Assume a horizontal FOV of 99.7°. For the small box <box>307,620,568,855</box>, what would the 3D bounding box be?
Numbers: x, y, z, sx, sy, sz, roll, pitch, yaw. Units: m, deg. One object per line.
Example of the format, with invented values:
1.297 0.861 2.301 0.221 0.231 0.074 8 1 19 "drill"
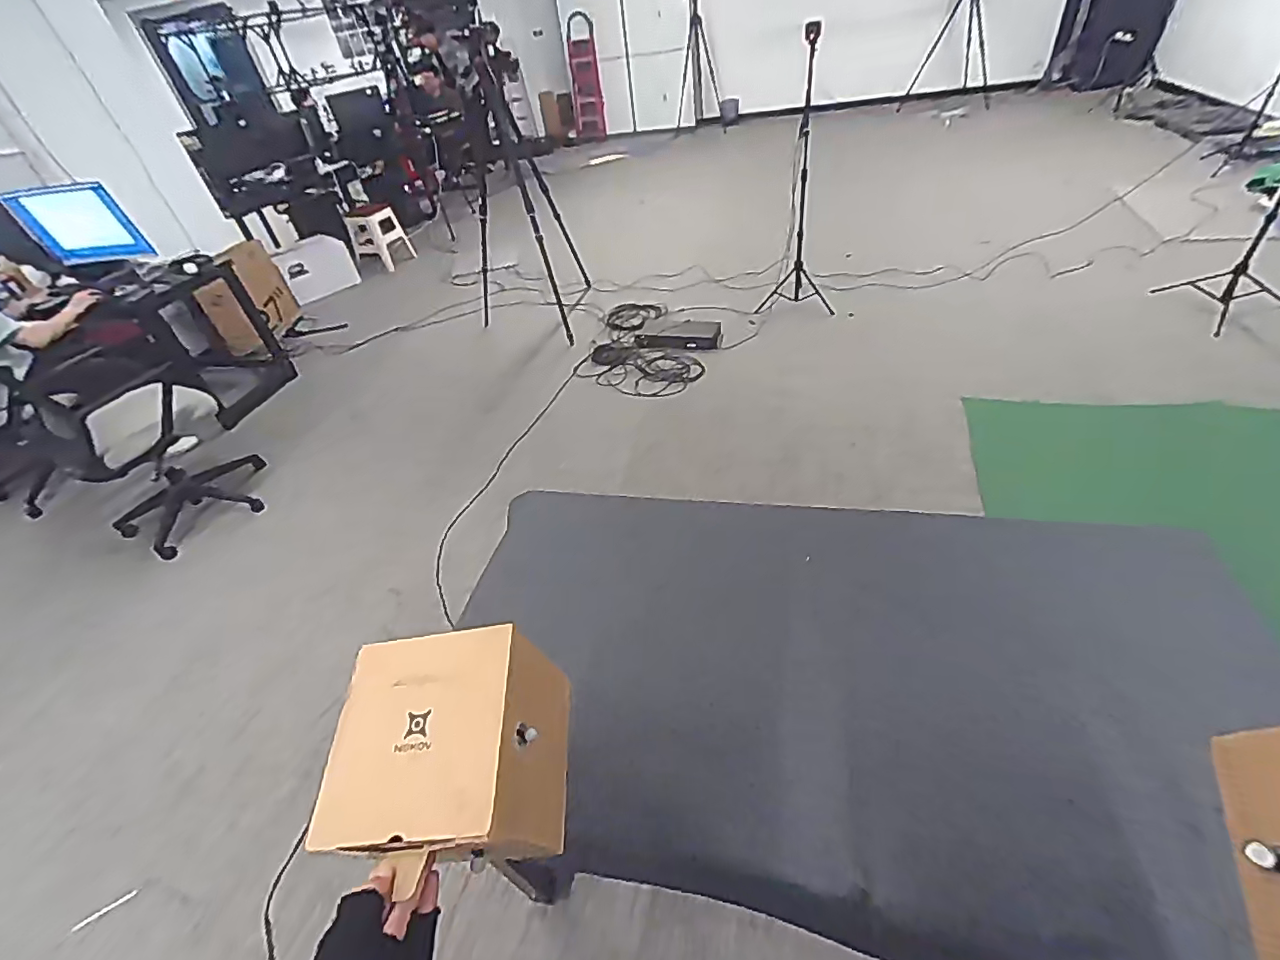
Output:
-0.176 0.262 0.536 0.168 0.176 0.179 -10 51 8 "small box"
